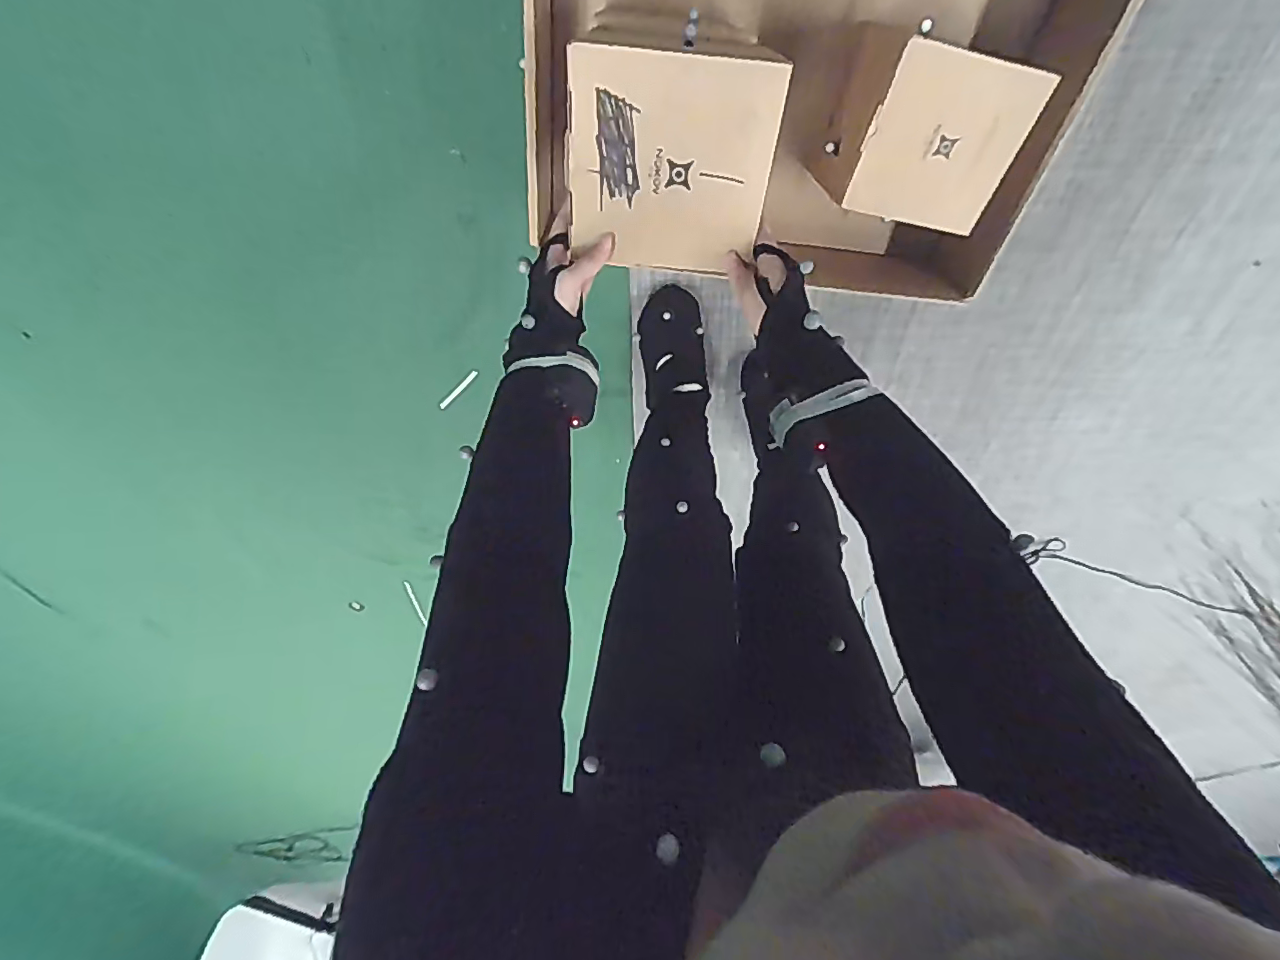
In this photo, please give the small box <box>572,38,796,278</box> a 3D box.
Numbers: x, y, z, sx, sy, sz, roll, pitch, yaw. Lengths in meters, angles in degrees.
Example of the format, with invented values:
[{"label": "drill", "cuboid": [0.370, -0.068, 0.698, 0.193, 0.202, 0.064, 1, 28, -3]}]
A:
[{"label": "small box", "cuboid": [0.031, -0.317, 0.529, 0.179, 0.176, 0.168, 4, 132, -2]}]
